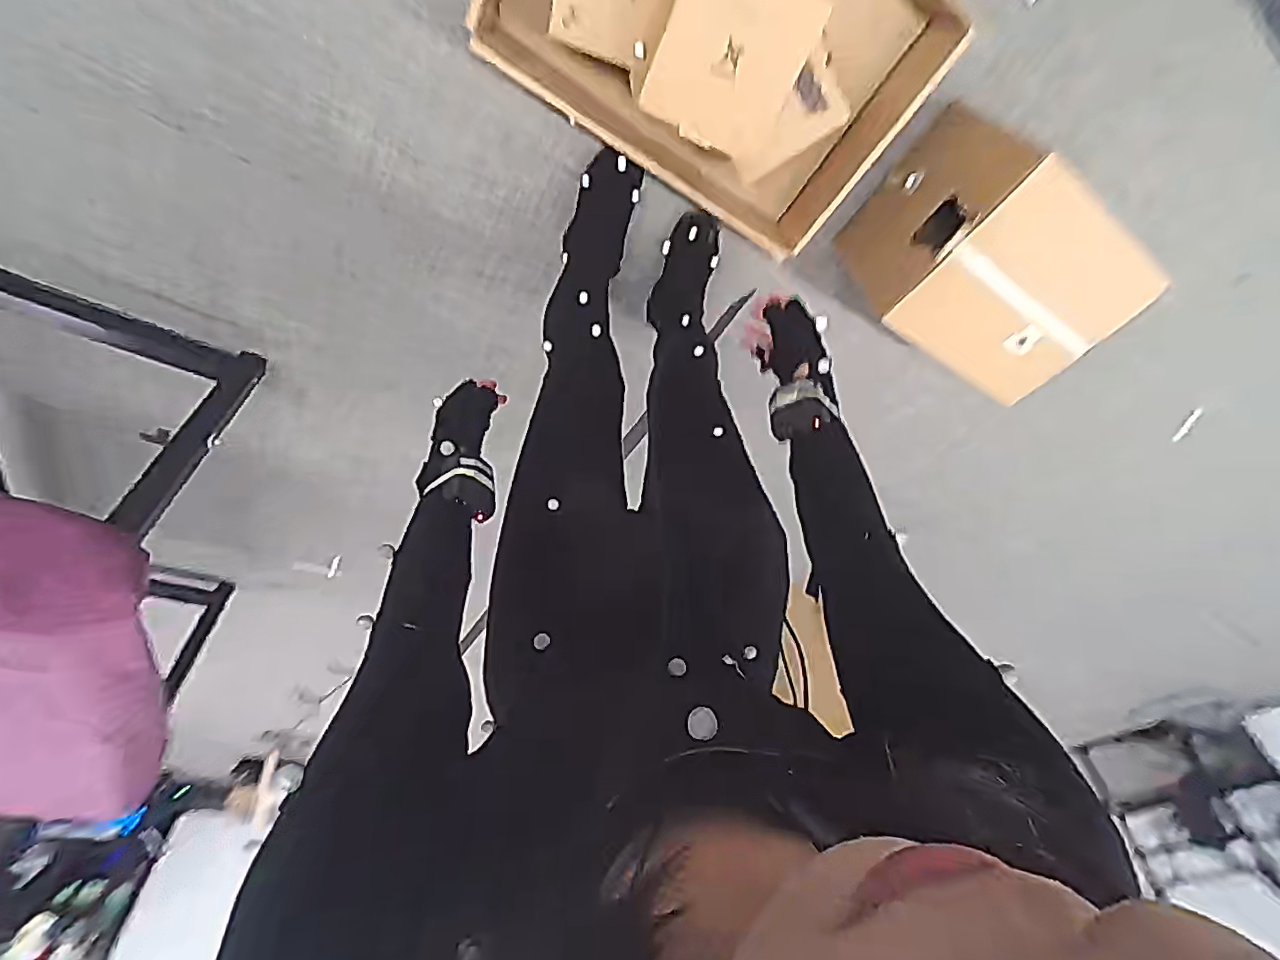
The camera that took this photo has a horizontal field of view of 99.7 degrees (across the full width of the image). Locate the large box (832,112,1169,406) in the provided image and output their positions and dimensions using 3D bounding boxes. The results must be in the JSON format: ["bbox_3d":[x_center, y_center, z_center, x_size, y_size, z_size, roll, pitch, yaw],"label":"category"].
[{"bbox_3d":[0.660,-0.415,1.048,0.408,0.320,0.320,21,131,-25],"label":"large box"}]

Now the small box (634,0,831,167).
[{"bbox_3d":[0.099,-0.538,0.675,0.168,0.176,0.179,15,132,-20],"label":"small box"}]
